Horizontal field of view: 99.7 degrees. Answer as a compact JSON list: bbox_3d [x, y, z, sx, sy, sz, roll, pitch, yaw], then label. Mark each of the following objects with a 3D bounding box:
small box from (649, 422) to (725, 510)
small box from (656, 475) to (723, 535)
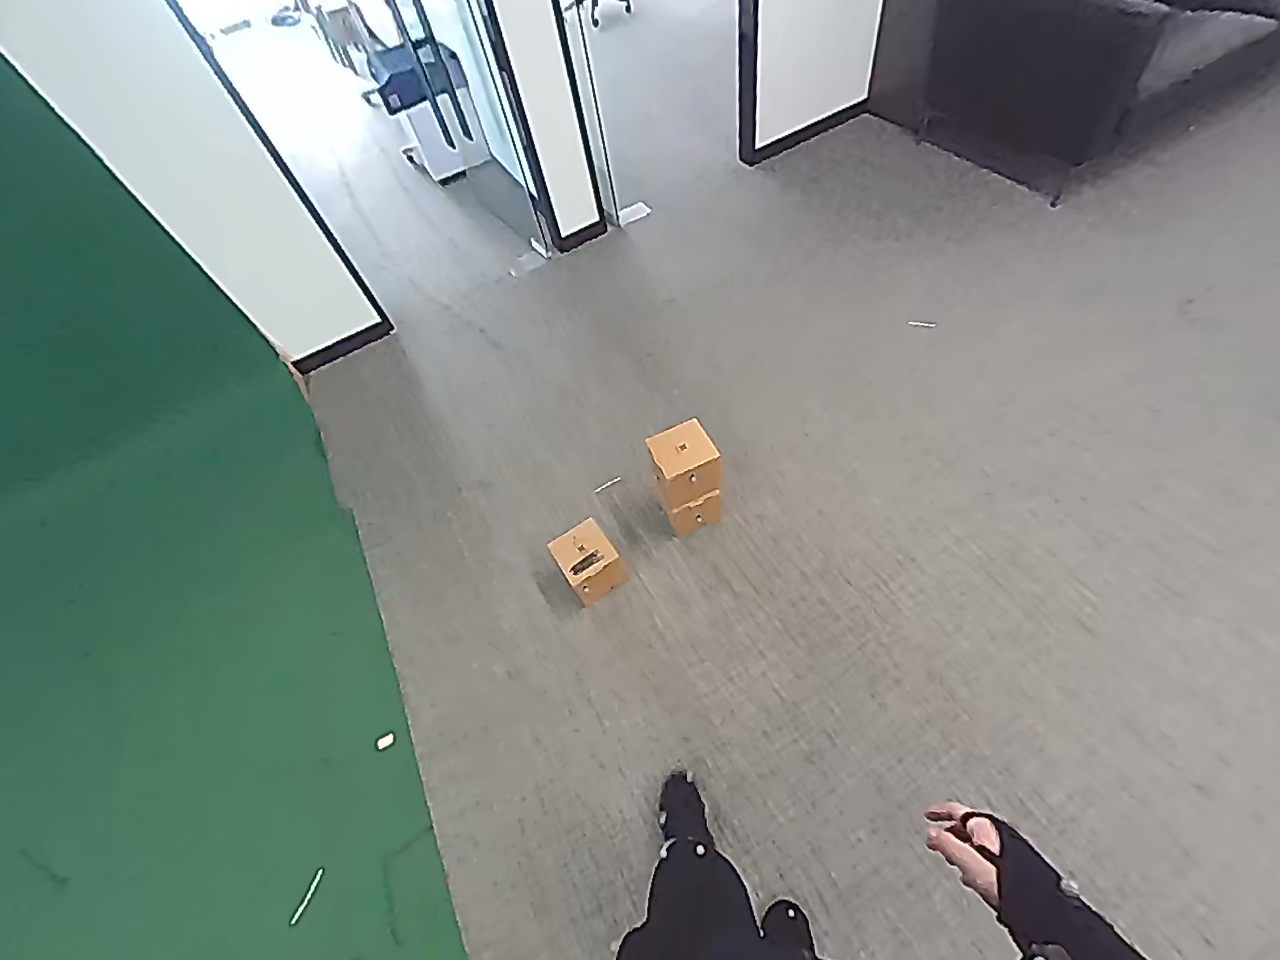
[{"bbox_3d":[0.147,-0.039,1.653,0.179,0.176,0.168,-24,55,-5],"label":"small box"},{"bbox_3d":[0.167,0.062,1.779,0.168,0.176,0.179,-22,56,-5],"label":"small box"}]
